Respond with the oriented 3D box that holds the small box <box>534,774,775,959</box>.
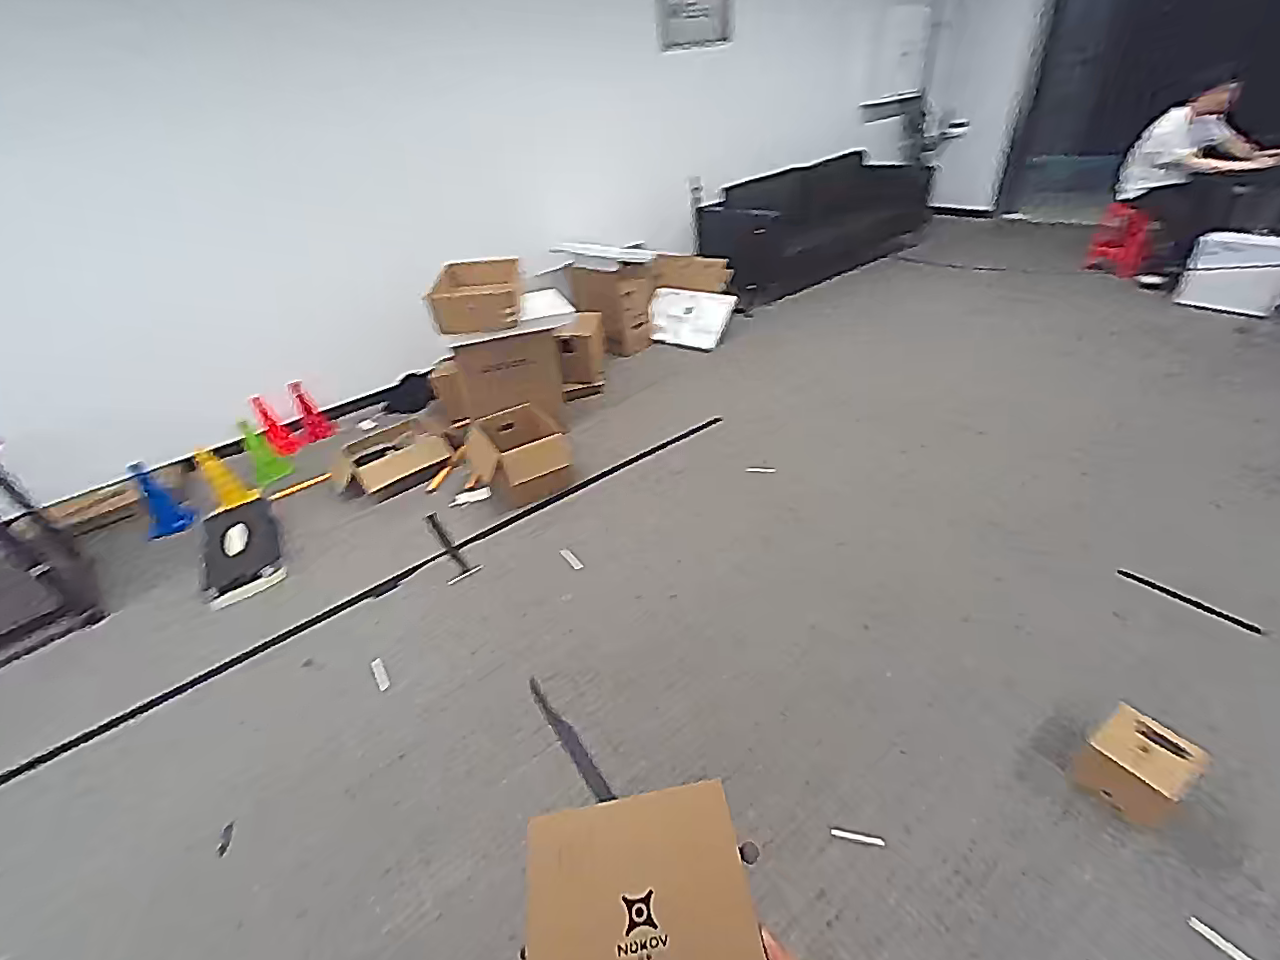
[{"bbox_3d":[0.016,0.373,0.430,0.168,0.176,0.179,-11,37,-1],"label":"small box"}]
